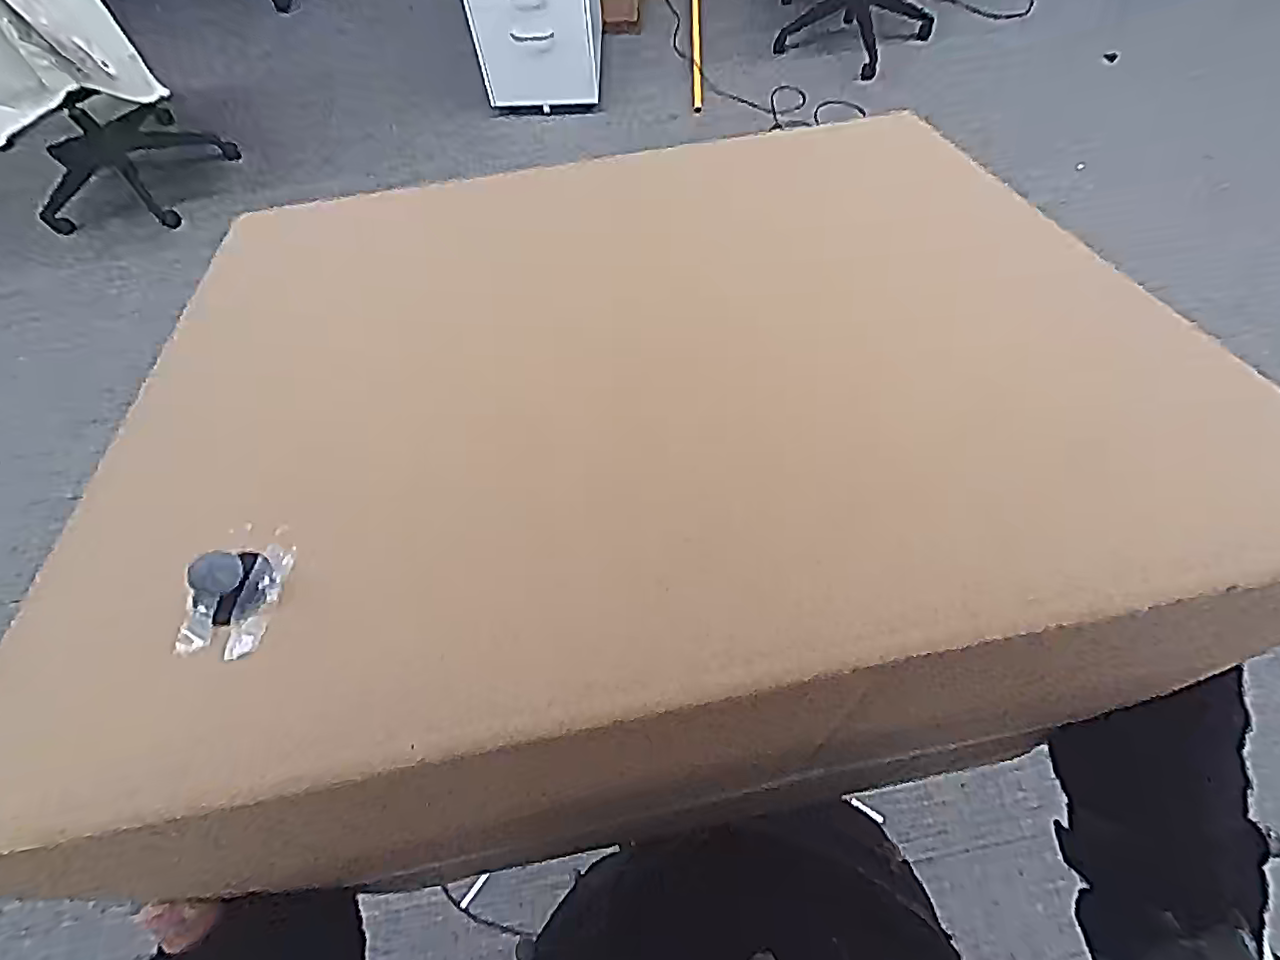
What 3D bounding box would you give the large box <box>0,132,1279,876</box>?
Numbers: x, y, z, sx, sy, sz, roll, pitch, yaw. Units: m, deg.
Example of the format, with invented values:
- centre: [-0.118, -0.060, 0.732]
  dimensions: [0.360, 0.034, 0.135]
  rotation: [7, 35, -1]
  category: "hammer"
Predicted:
- centre: [0.008, 0.024, 0.354]
  dimensions: [0.408, 0.320, 0.320]
  rotation: [-11, 53, -2]
  category: "large box"
